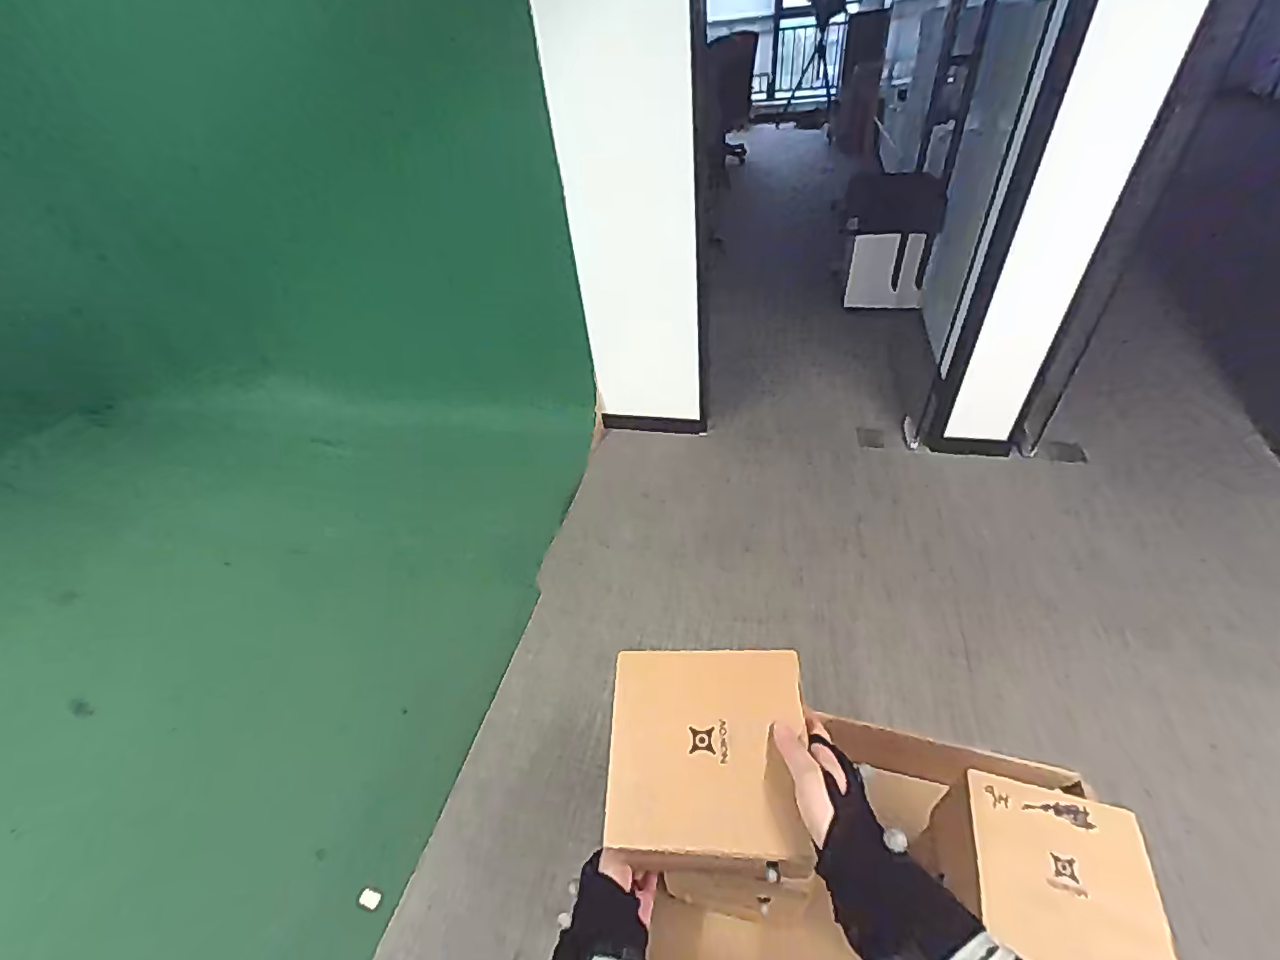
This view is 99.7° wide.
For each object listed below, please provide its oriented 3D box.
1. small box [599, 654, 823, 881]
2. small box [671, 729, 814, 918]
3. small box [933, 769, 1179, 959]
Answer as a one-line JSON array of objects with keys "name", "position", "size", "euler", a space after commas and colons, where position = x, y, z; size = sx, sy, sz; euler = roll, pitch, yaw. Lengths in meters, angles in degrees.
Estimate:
[{"name": "small box", "position": [0.069, 0.281, 0.525], "size": [0.179, 0.176, 0.168], "euler": [-3, 50, 8]}, {"name": "small box", "position": [0.129, 0.424, 0.689], "size": [0.168, 0.176, 0.179], "euler": [4, 43, 12]}, {"name": "small box", "position": [0.440, 0.462, 0.601], "size": [0.168, 0.176, 0.179], "euler": [9, 46, 17]}]
